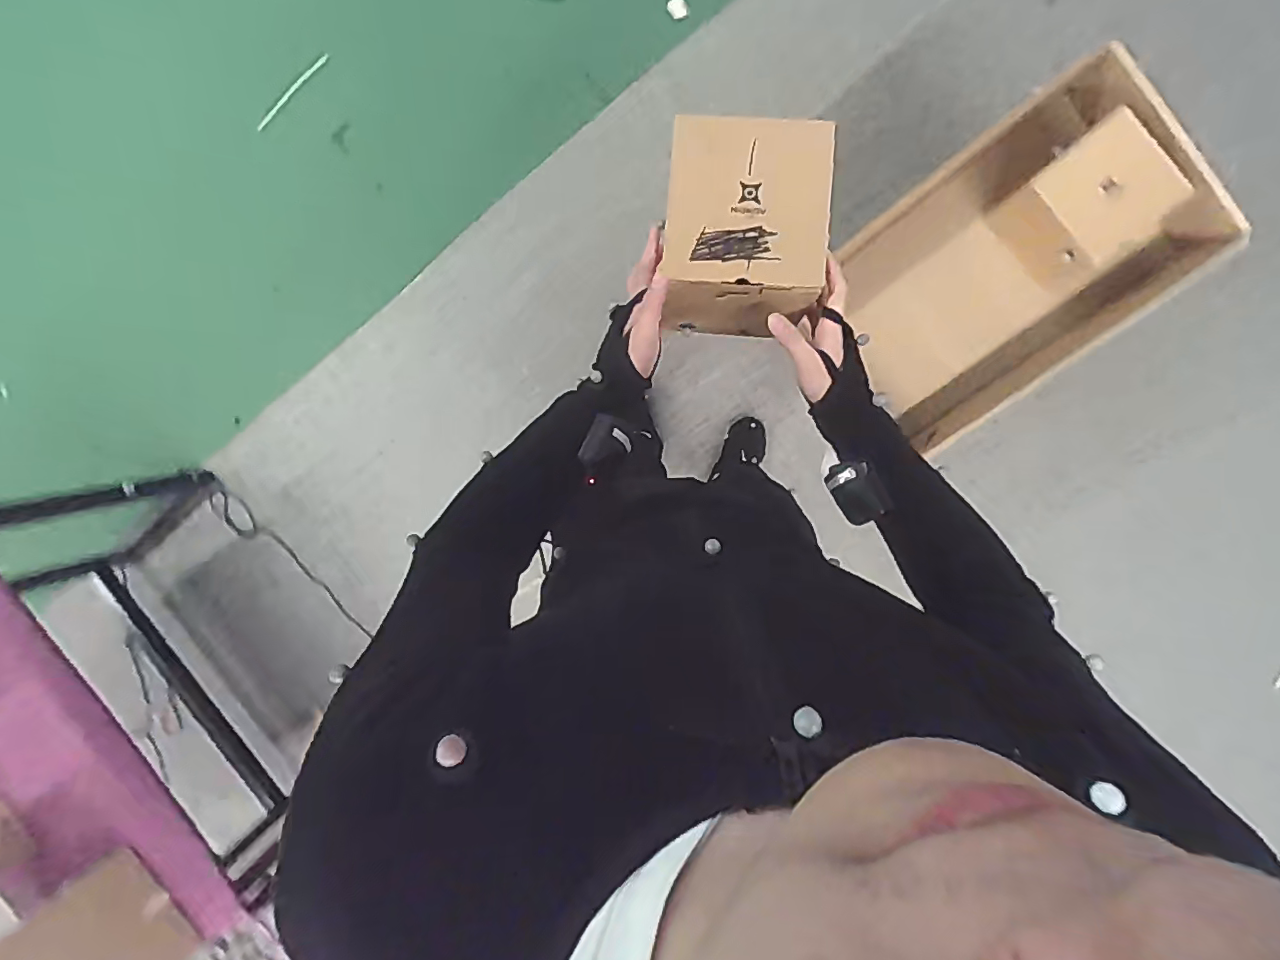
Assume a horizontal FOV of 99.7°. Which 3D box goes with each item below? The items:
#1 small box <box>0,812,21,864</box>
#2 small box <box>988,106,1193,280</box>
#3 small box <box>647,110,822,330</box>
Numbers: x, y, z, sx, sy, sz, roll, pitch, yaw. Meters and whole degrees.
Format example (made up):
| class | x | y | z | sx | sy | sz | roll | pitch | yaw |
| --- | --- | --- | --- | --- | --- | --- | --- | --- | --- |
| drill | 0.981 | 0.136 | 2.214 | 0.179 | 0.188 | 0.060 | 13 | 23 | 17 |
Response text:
| class | x | y | z | sx | sy | sz | roll | pitch | yaw |
| --- | --- | --- | --- | --- | --- | --- | --- | --- | --- |
| small box | -1.622 | 0.882 | 1.253 | 0.179 | 0.176 | 0.168 | -32 | 94 | 14 |
| small box | 0.747 | -0.471 | 0.923 | 0.168 | 0.176 | 0.179 | -40 | 92 | 13 |
| small box | 0.099 | -0.281 | 0.620 | 0.168 | 0.176 | 0.179 | 4 | 88 | 3 |
